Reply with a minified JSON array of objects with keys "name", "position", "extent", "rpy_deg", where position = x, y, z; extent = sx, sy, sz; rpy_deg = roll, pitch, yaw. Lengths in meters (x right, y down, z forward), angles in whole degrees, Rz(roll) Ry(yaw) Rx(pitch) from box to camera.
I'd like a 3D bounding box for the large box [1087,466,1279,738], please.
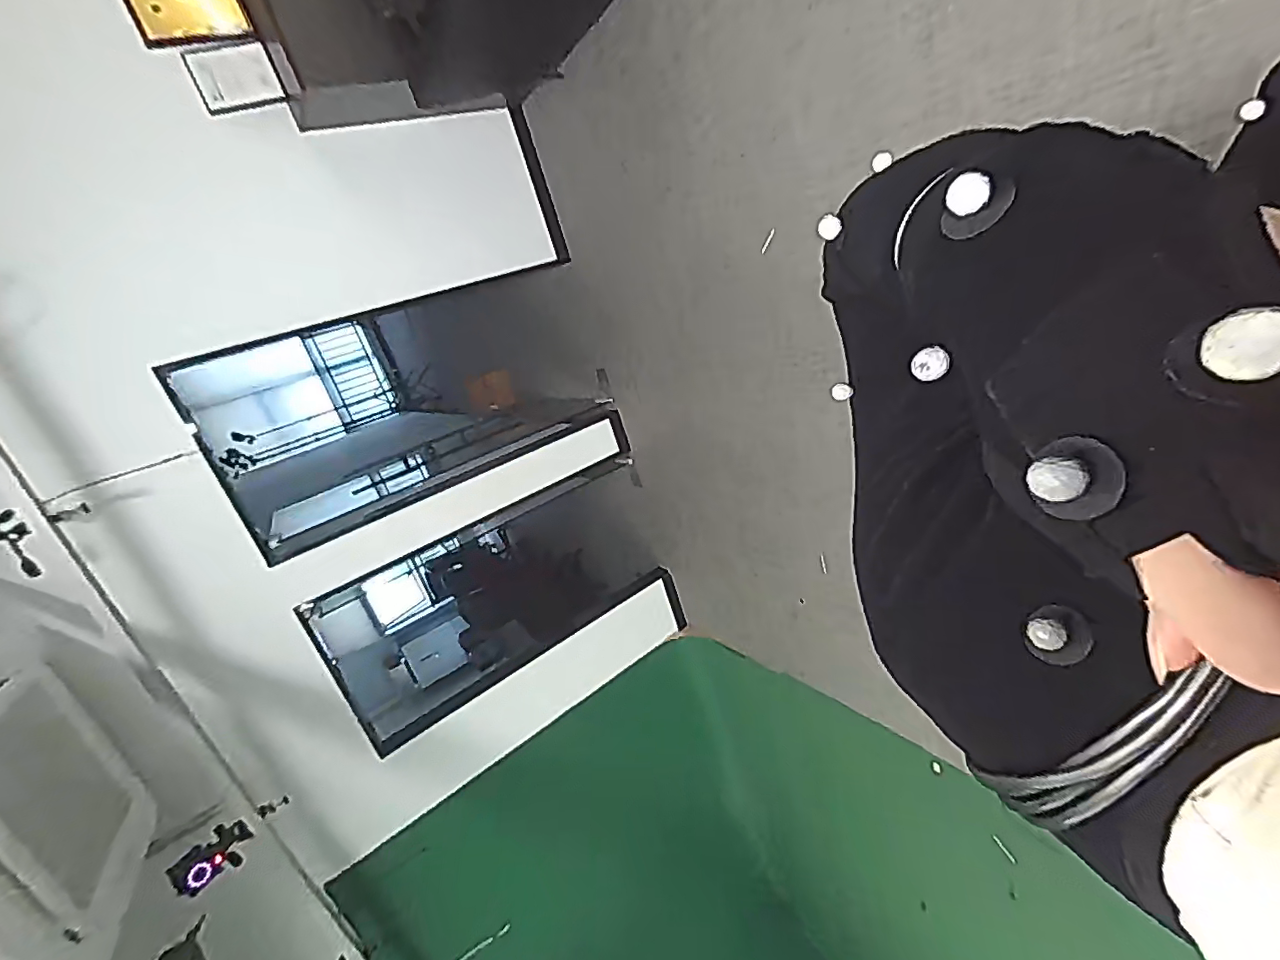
[{"name":"large box","position":[1.152,0.214,1.077],"extent":[0.320,0.320,0.408],"rpy_deg":[10,123,57]}]
